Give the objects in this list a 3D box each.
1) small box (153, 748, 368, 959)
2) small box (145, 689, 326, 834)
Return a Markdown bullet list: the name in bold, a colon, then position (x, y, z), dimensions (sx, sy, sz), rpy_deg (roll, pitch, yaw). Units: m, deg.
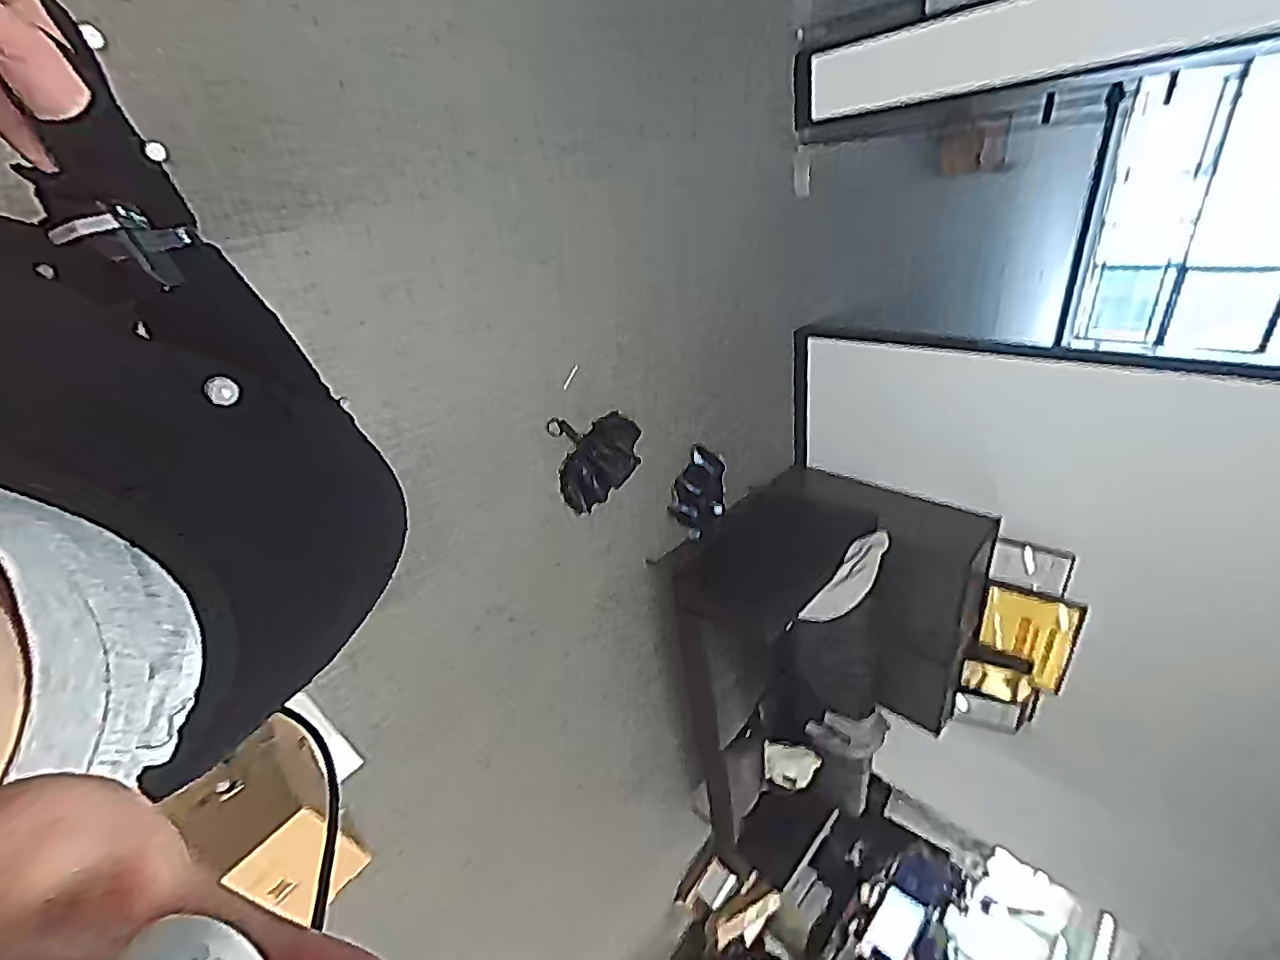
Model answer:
- **small box**: position (-0.525, 0.517, 0.755), dimensions (0.168, 0.176, 0.179), rpy_deg (-40, 130, -29)
- **small box**: position (-0.638, 0.474, 0.864), dimensions (0.168, 0.176, 0.179), rpy_deg (-37, 130, -30)
